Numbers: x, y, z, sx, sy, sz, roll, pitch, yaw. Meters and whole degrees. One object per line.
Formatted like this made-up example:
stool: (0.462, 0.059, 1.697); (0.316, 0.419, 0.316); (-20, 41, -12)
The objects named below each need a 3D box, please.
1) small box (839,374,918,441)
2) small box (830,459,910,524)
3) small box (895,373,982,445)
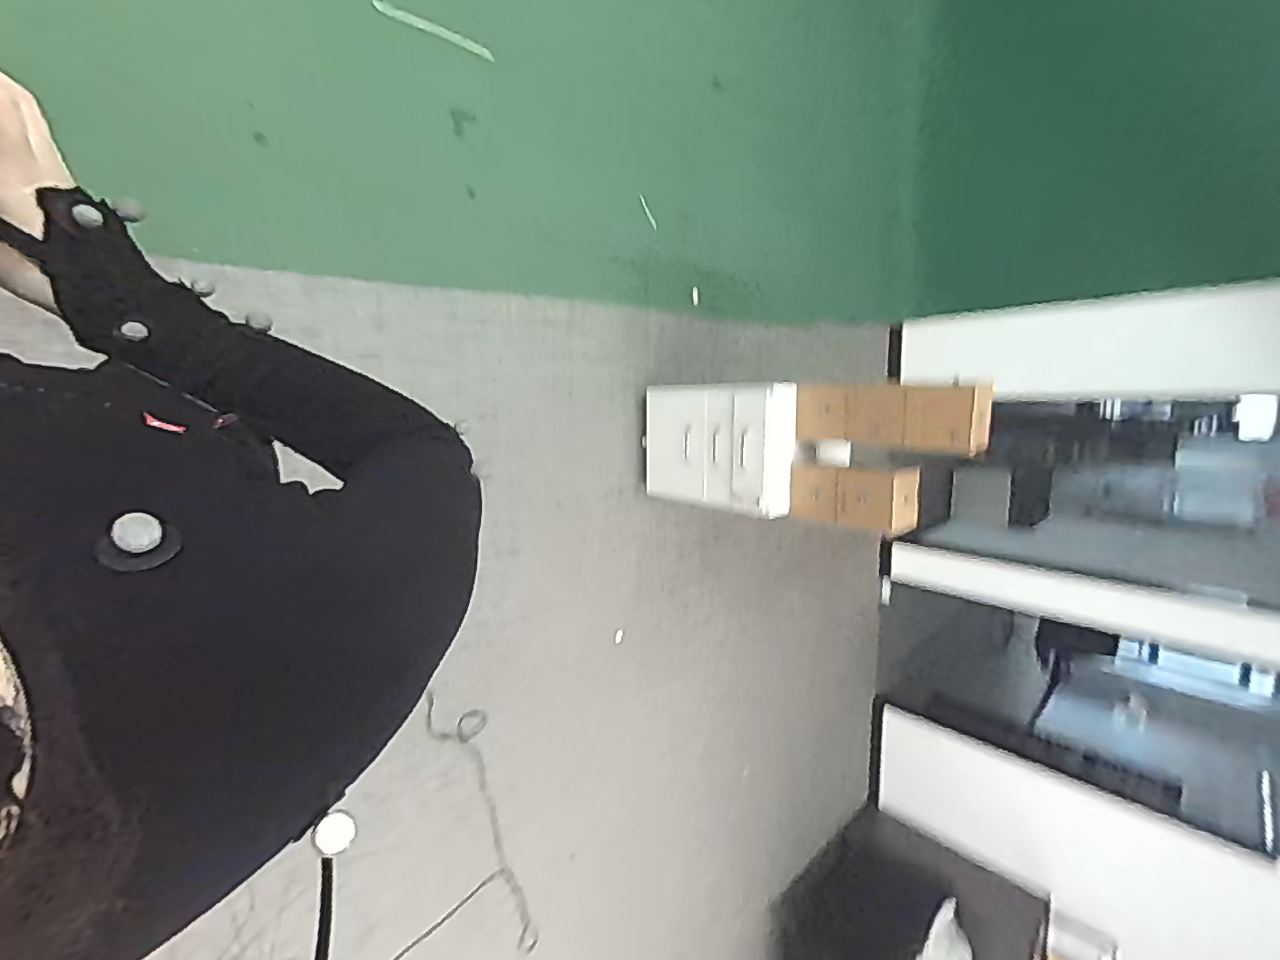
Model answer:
small box: (0.701, -0.219, 1.597); (0.168, 0.176, 0.179); (-17, 109, -42)
small box: (0.685, 0.029, 1.616); (0.179, 0.176, 0.168); (-9, 102, -43)
small box: (0.817, -0.200, 1.483); (0.168, 0.176, 0.179); (-16, 109, -42)
